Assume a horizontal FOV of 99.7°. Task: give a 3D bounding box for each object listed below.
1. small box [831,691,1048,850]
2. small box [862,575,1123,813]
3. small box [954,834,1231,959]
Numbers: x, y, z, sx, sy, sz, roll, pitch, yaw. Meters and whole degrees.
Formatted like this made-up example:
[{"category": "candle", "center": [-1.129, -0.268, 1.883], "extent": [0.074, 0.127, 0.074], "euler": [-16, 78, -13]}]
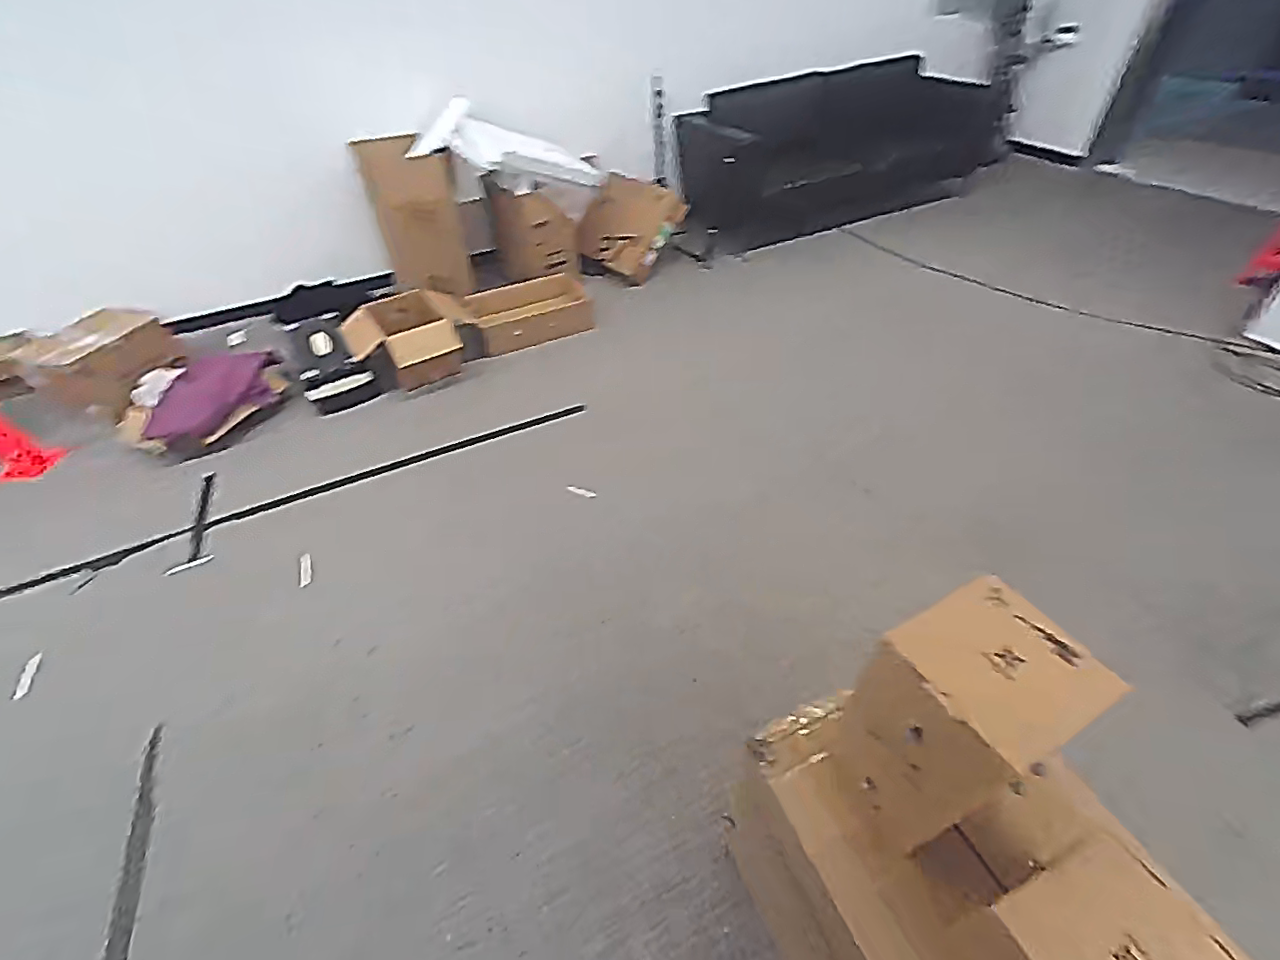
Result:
[{"category": "small box", "center": [0.394, 0.369, 0.745], "extent": [0.179, 0.176, 0.168], "euler": [-20, 47, -15]}, {"category": "small box", "center": [0.386, 0.251, 0.633], "extent": [0.179, 0.176, 0.168], "euler": [-22, 47, -16]}, {"category": "small box", "center": [0.480, 0.524, 0.578], "extent": [0.179, 0.176, 0.168], "euler": [-20, 44, -14]}]
